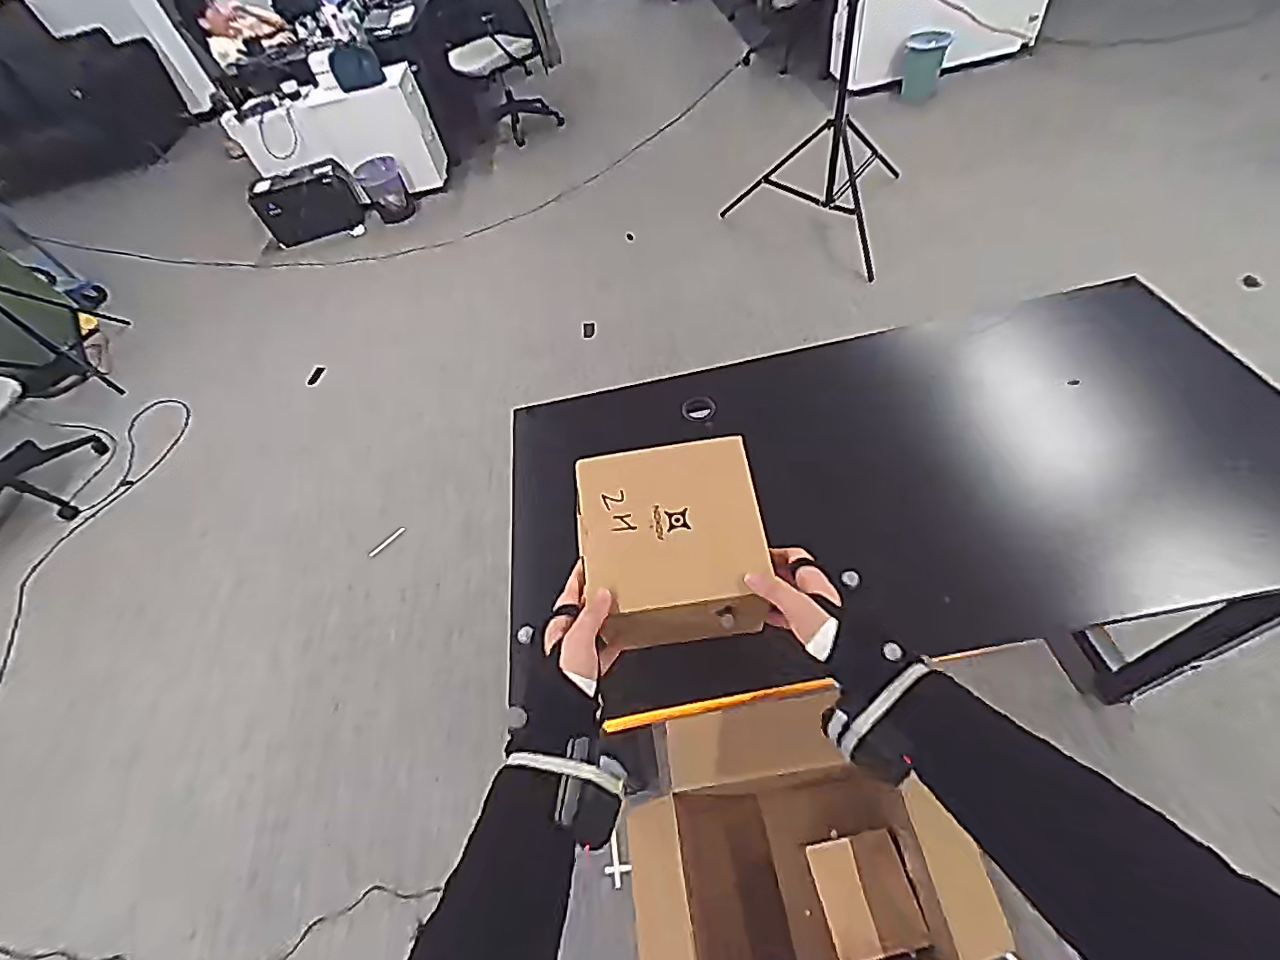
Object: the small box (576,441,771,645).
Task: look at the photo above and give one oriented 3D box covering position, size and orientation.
[{"bbox_3d":[0.033,0.078,0.602,0.179,0.176,0.168,-9,62,2],"label":"small box"}]
